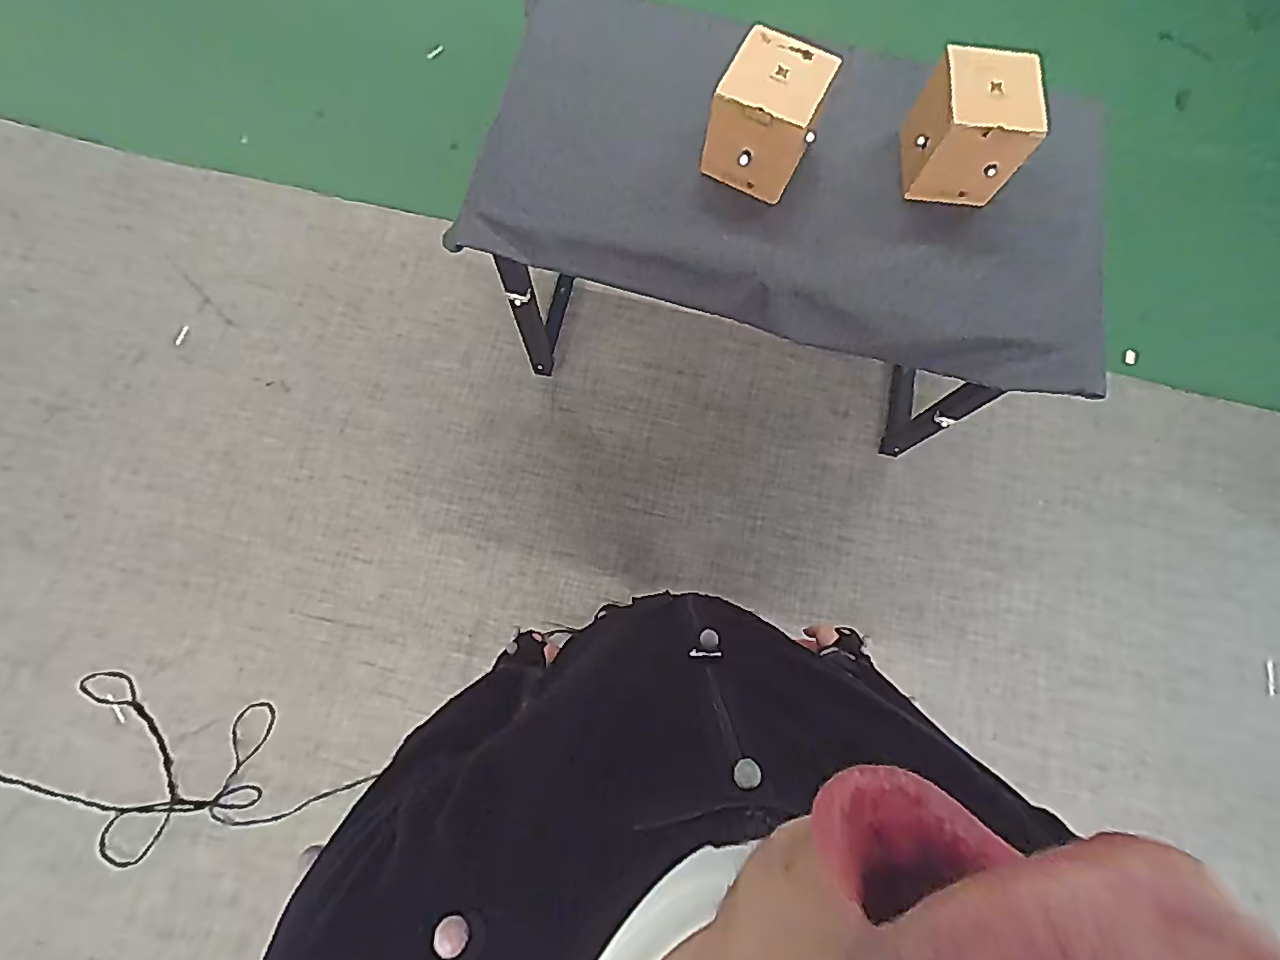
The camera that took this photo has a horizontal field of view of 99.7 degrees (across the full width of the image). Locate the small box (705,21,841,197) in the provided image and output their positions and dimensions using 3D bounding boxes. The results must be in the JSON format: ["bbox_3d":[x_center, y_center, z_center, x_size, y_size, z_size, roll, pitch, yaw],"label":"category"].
[{"bbox_3d":[0.230,-0.662,0.982,0.168,0.176,0.179,27,76,3],"label":"small box"}]

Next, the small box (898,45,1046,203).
[{"bbox_3d":[0.601,-0.646,1.000,0.168,0.176,0.179,5,75,-3],"label":"small box"}]
